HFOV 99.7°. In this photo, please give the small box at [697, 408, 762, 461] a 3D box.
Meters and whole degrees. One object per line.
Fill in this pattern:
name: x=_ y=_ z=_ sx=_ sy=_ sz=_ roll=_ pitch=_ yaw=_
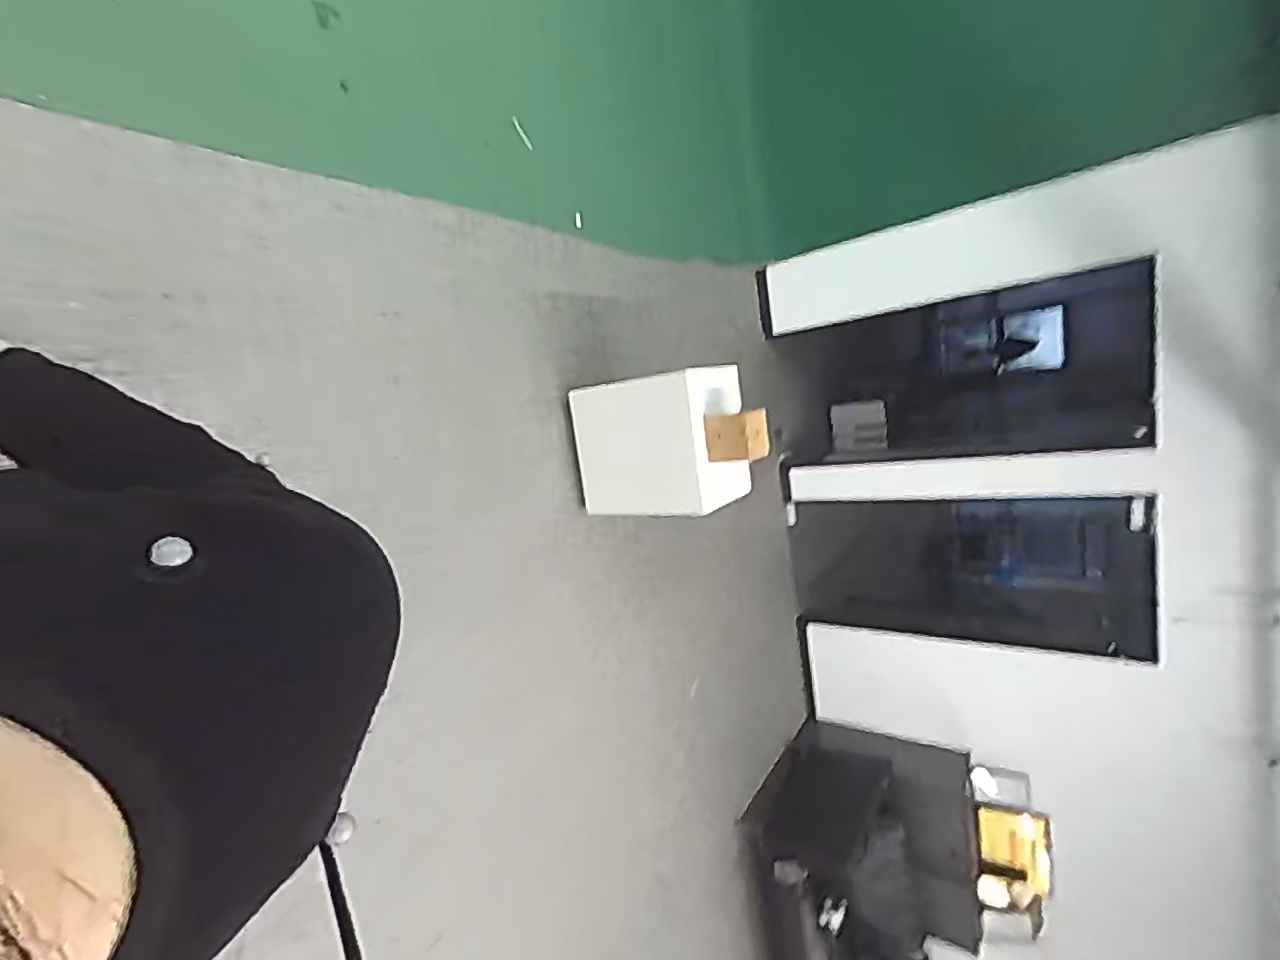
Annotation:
small box: x=0.324 y=-0.165 z=1.949 sx=0.179 sy=0.176 sz=0.168 roll=-20 pitch=104 yaw=-54
